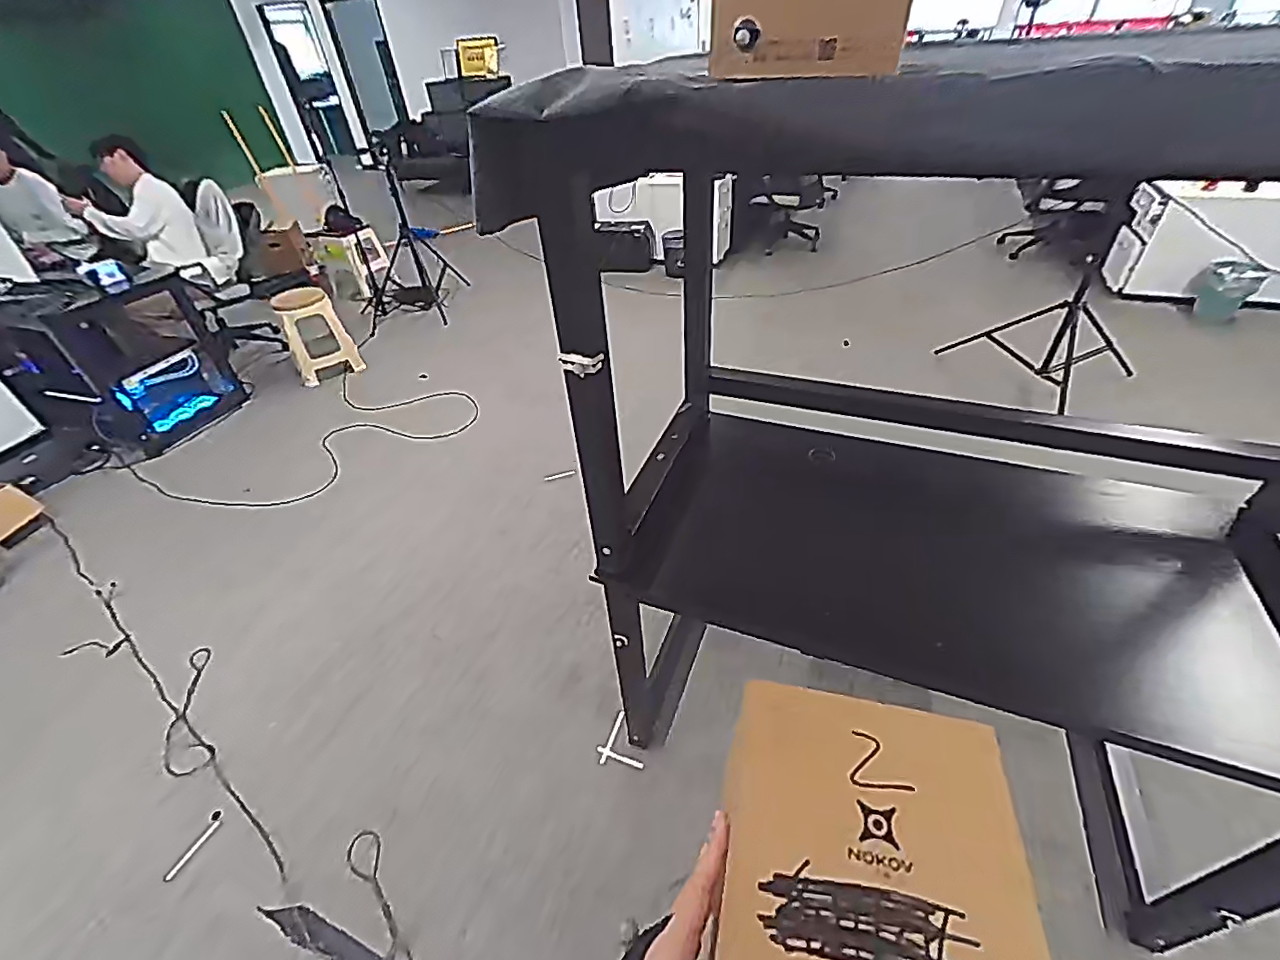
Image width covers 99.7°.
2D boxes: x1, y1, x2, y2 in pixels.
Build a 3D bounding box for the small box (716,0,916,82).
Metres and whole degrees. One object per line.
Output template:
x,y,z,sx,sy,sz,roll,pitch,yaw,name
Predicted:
0.168,-0.467,0.488,0.168,0.176,0.179,12,40,16,small box
